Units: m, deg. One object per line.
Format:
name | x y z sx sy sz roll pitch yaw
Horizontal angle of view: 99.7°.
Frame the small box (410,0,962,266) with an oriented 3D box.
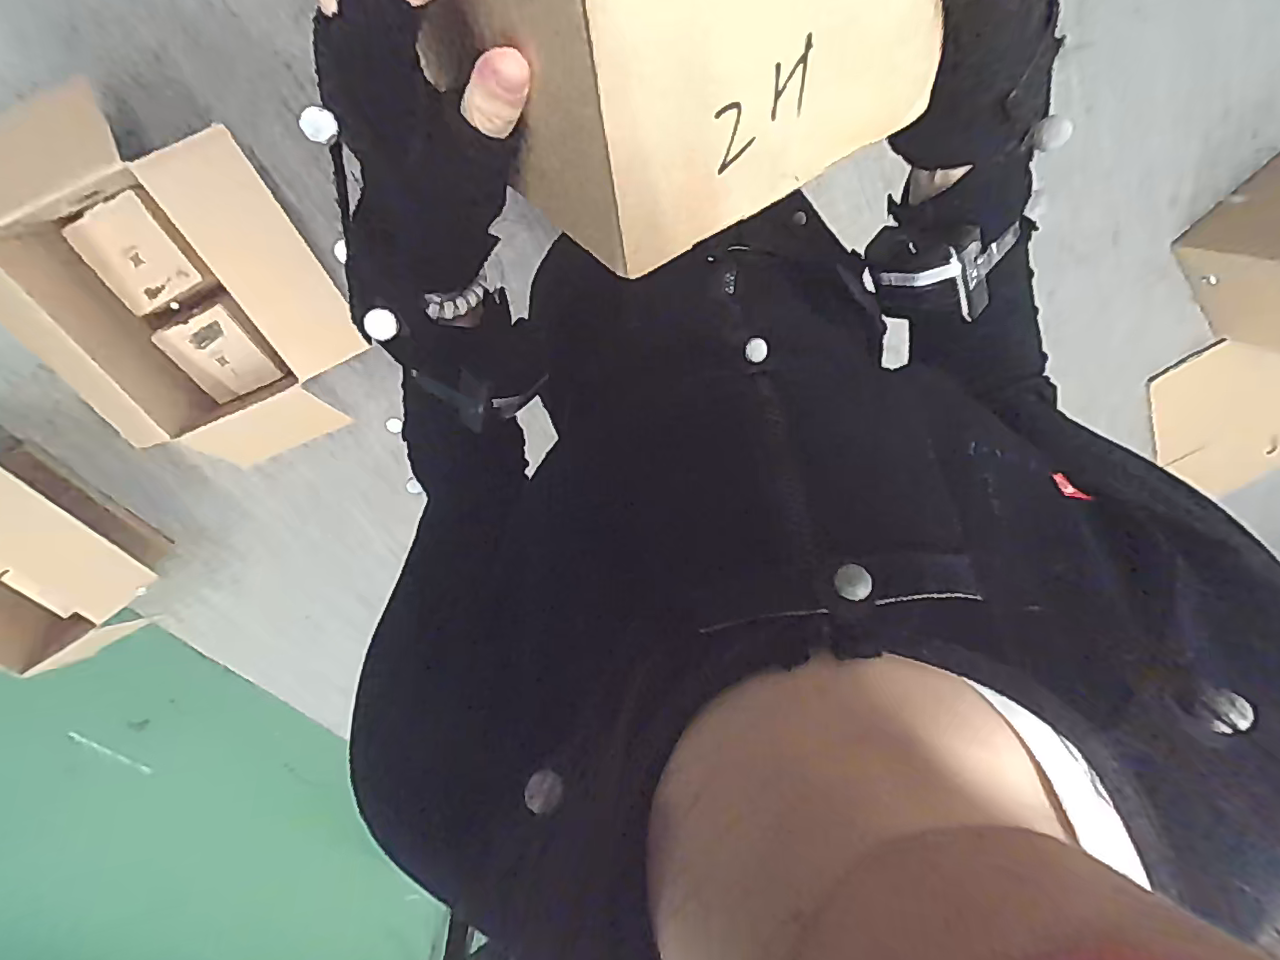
small box | 0.005 -0.220 0.194 0.168 0.176 0.179 -34 149 -14
